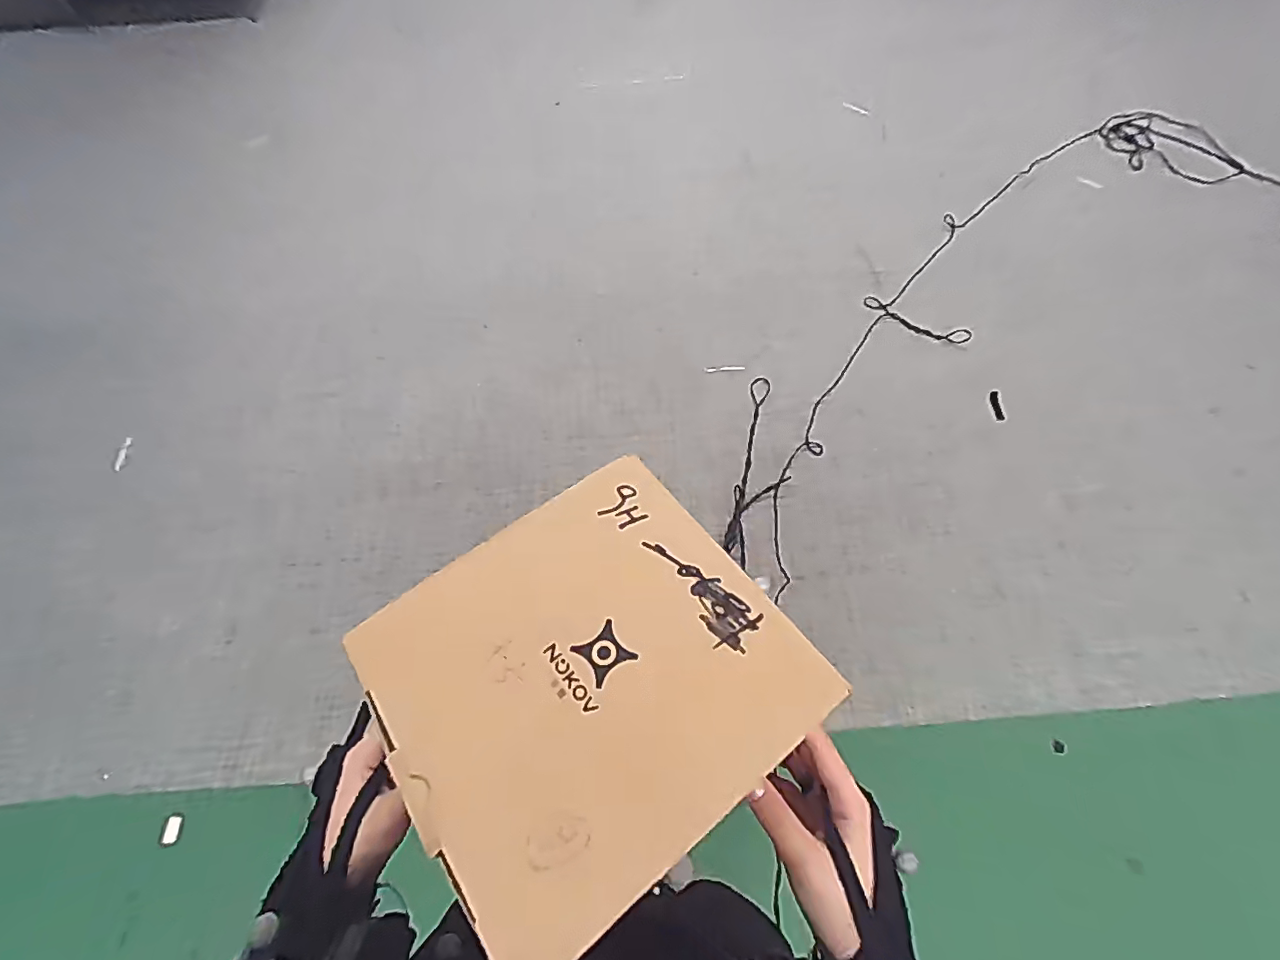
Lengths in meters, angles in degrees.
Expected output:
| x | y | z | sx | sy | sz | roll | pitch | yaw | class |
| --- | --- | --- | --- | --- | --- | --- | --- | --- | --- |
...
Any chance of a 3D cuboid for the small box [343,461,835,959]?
| x | y | z | sx | sy | sz | roll | pitch | yaw | class |
| --- | --- | --- | --- | --- | --- | --- | --- | --- | --- |
| -0.024 | 0.129 | 0.315 | 0.179 | 0.176 | 0.168 | -33 | 62 | -17 | small box |
